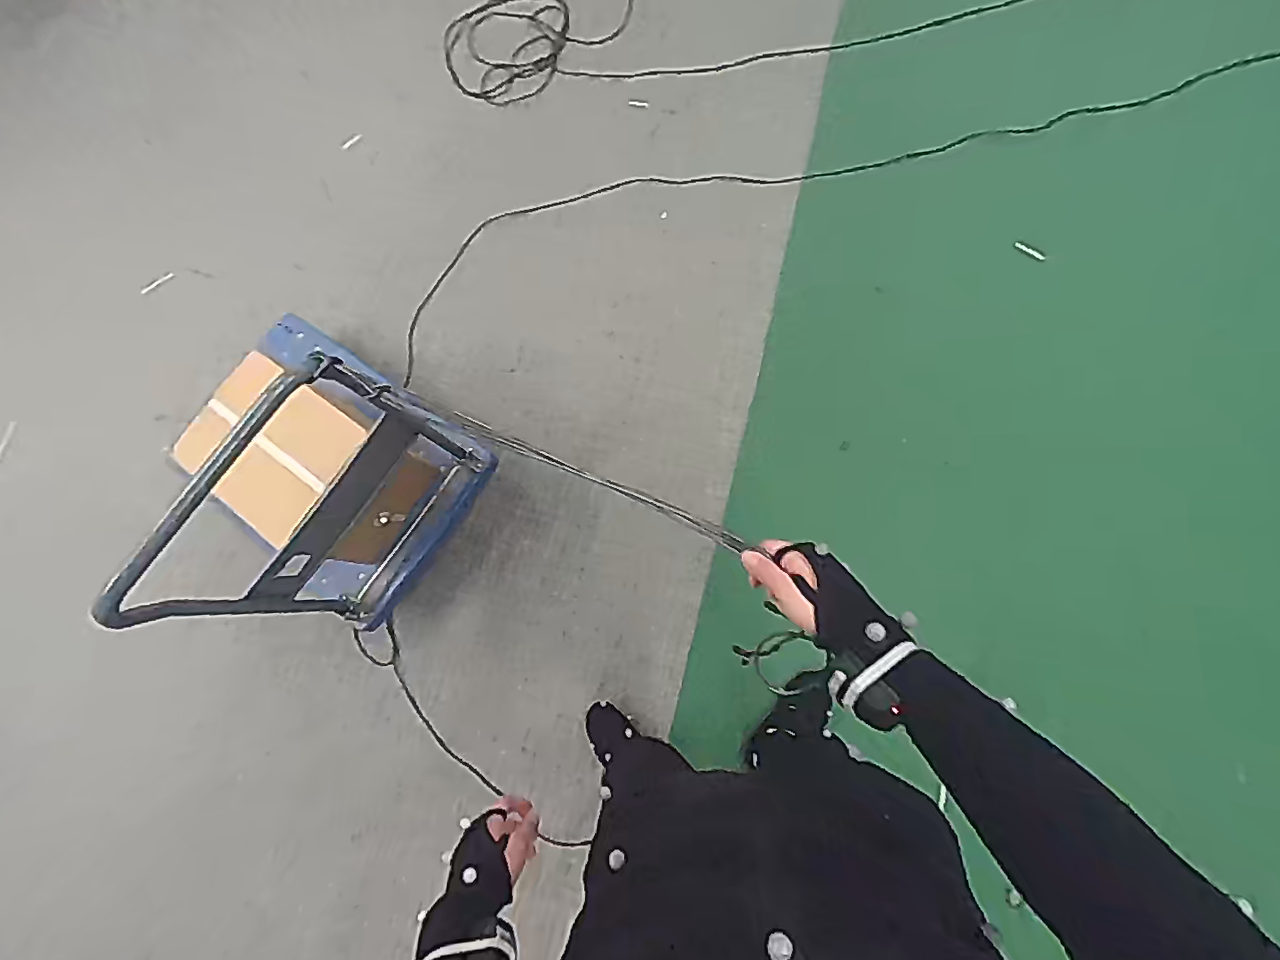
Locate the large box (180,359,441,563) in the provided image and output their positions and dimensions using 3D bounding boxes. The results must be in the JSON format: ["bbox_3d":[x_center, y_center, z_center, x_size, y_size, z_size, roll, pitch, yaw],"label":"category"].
[{"bbox_3d":[-0.798,-0.031,1.358,0.408,0.320,0.320,32,82,16],"label":"large box"}]
